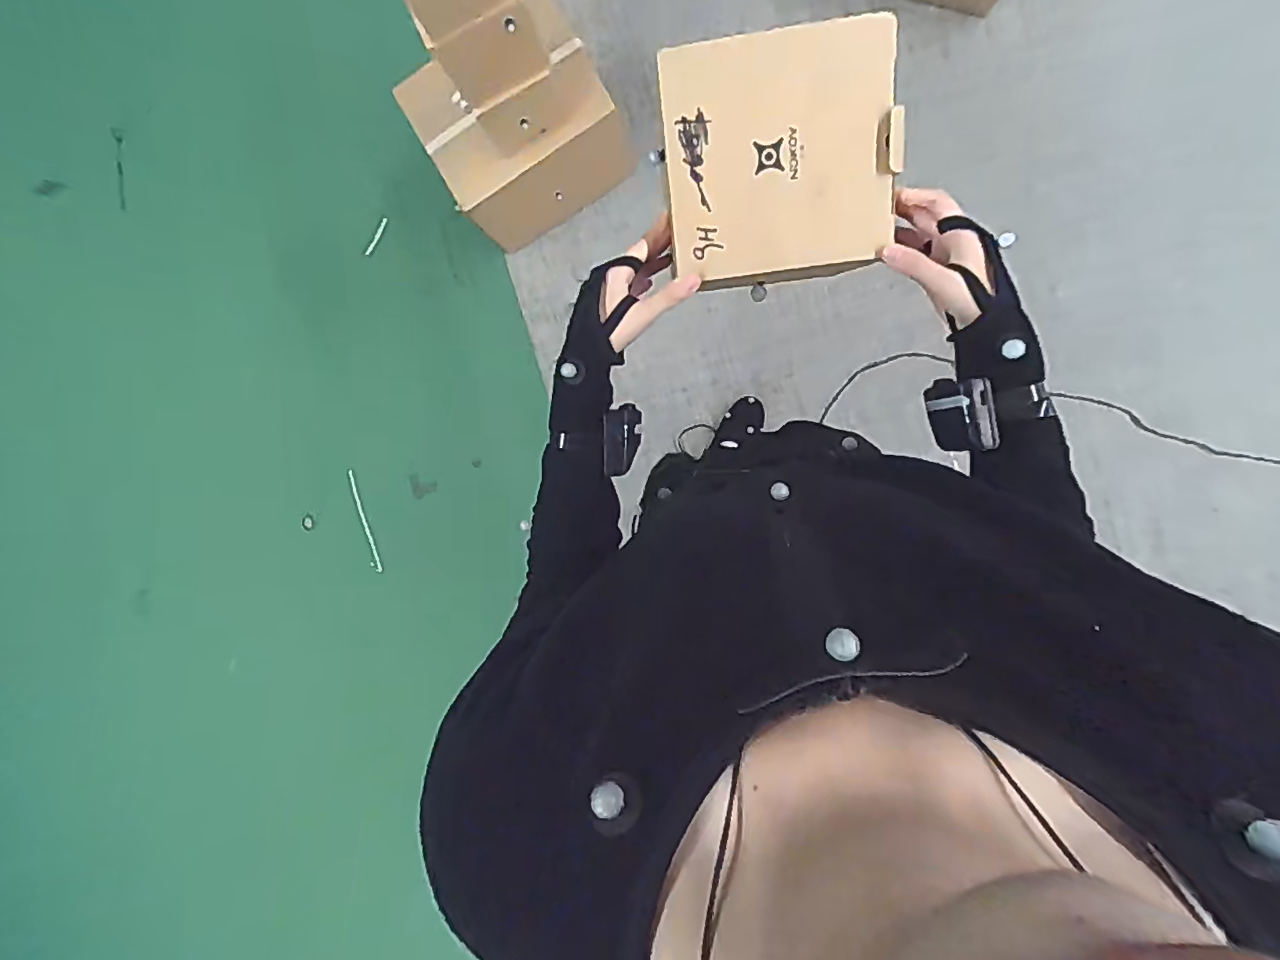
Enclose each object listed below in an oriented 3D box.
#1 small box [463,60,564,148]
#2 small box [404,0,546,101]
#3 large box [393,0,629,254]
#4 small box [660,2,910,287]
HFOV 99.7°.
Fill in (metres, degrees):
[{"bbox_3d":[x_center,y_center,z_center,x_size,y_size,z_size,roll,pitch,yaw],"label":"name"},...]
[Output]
[{"bbox_3d":[-0.269,-0.796,1.067,0.168,0.176,0.179,-25,93,6],"label":"small box"},{"bbox_3d":[-0.283,-0.789,0.906,0.179,0.176,0.168,-24,93,6],"label":"small box"},{"bbox_3d":[-0.285,-0.833,1.313,0.408,0.320,0.320,-30,91,8],"label":"large box"},{"bbox_3d":[0.114,-0.272,0.481,0.179,0.176,0.168,-6,104,3],"label":"small box"}]
